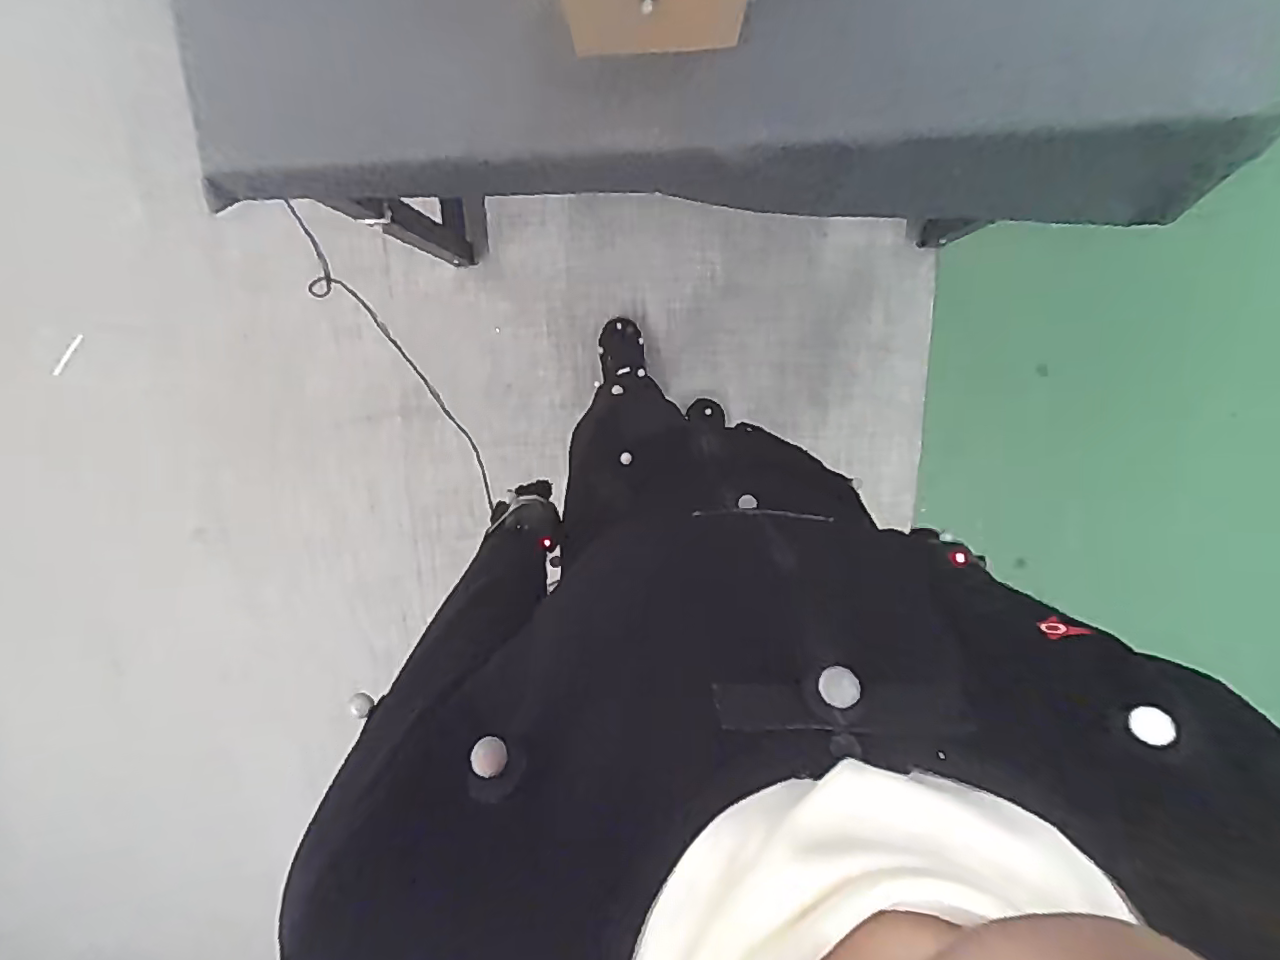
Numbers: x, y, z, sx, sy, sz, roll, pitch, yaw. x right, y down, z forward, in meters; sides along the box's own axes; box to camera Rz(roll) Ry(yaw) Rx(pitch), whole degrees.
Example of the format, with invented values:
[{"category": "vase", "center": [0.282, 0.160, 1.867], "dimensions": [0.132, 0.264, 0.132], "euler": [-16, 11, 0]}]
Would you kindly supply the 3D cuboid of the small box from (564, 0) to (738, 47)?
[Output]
[{"category": "small box", "center": [0.011, -0.537, 0.494], "dimensions": [0.179, 0.176, 0.168], "euler": [-1, 102, 4]}]
